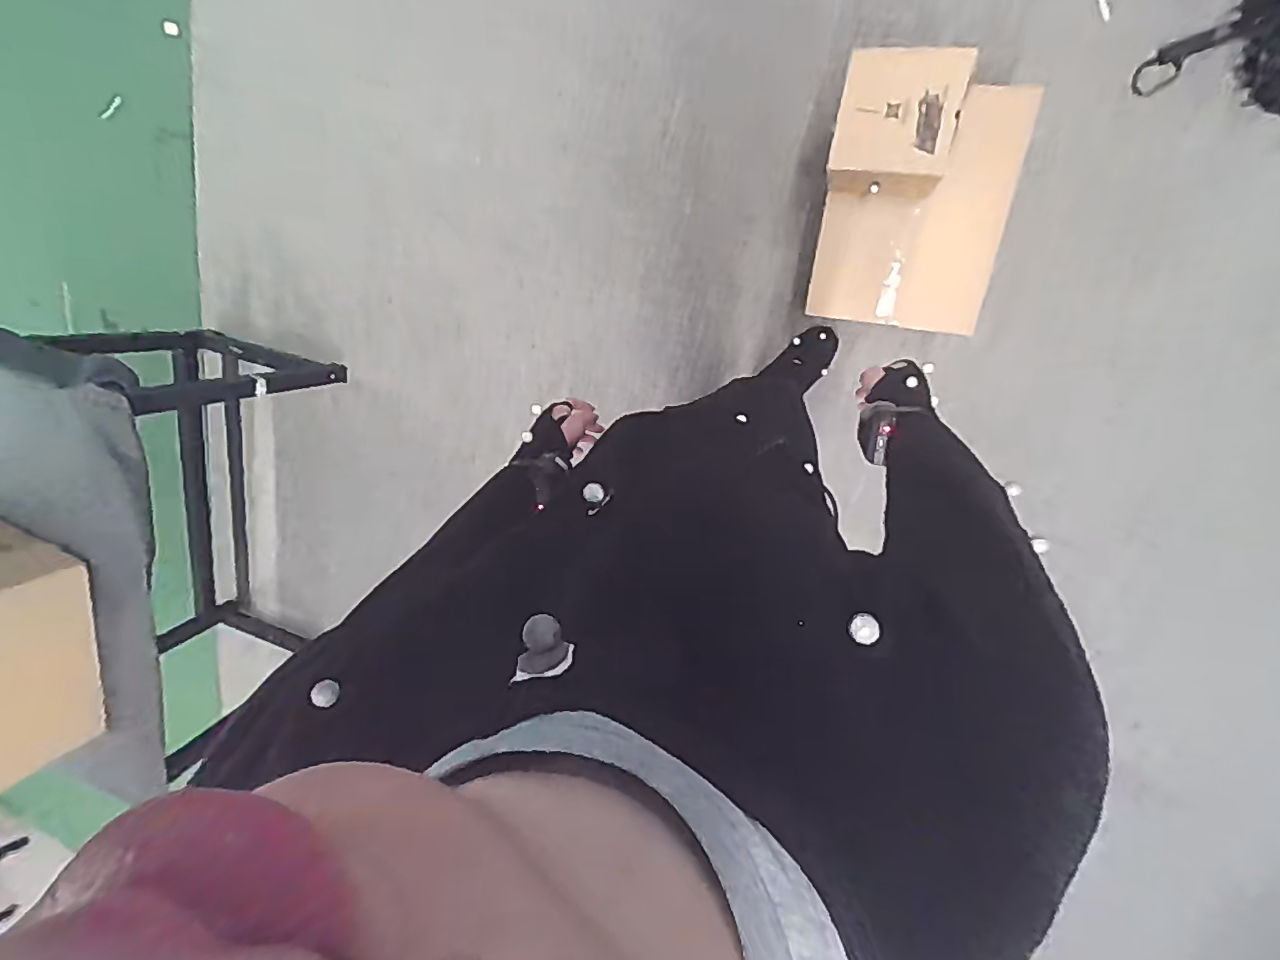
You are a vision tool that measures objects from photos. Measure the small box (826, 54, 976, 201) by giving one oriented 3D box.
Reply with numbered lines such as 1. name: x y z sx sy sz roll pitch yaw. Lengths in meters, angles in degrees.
1. small box: 0.419 -0.573 0.896 0.179 0.176 0.168 14 110 17
